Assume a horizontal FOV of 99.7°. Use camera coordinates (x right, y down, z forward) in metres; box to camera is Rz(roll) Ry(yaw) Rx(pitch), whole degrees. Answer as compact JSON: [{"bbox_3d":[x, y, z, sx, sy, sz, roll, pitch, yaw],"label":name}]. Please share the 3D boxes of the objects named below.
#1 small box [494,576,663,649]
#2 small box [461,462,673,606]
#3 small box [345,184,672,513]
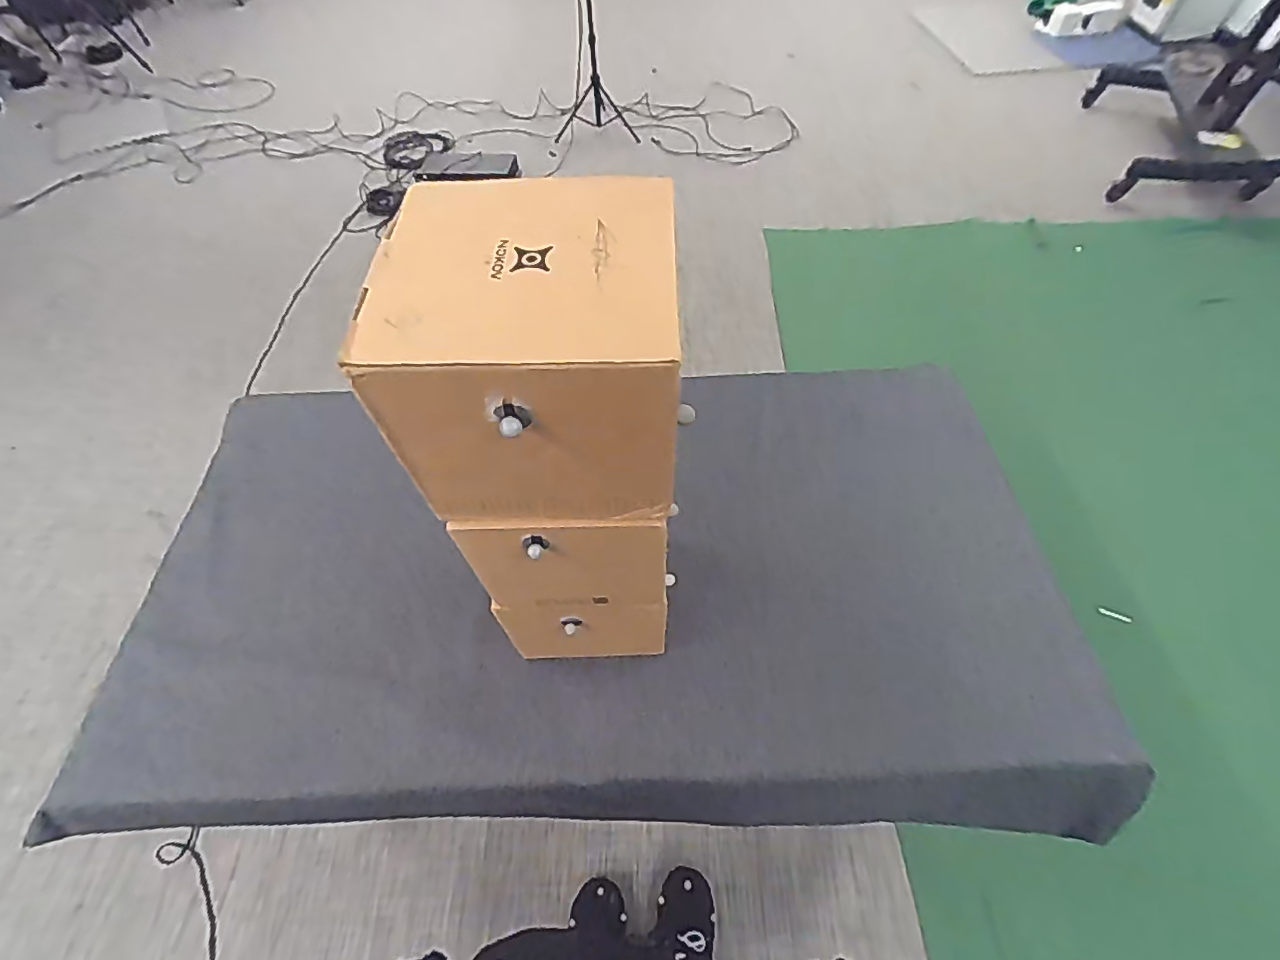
[{"bbox_3d":[-0.062,0.101,0.658,0.179,0.176,0.168,-2,56,0],"label":"small box"},{"bbox_3d":[-0.060,0.008,0.526,0.168,0.176,0.179,-2,57,-1],"label":"small box"},{"bbox_3d":[-0.067,-0.085,0.390,0.179,0.176,0.168,0,58,0],"label":"small box"}]
